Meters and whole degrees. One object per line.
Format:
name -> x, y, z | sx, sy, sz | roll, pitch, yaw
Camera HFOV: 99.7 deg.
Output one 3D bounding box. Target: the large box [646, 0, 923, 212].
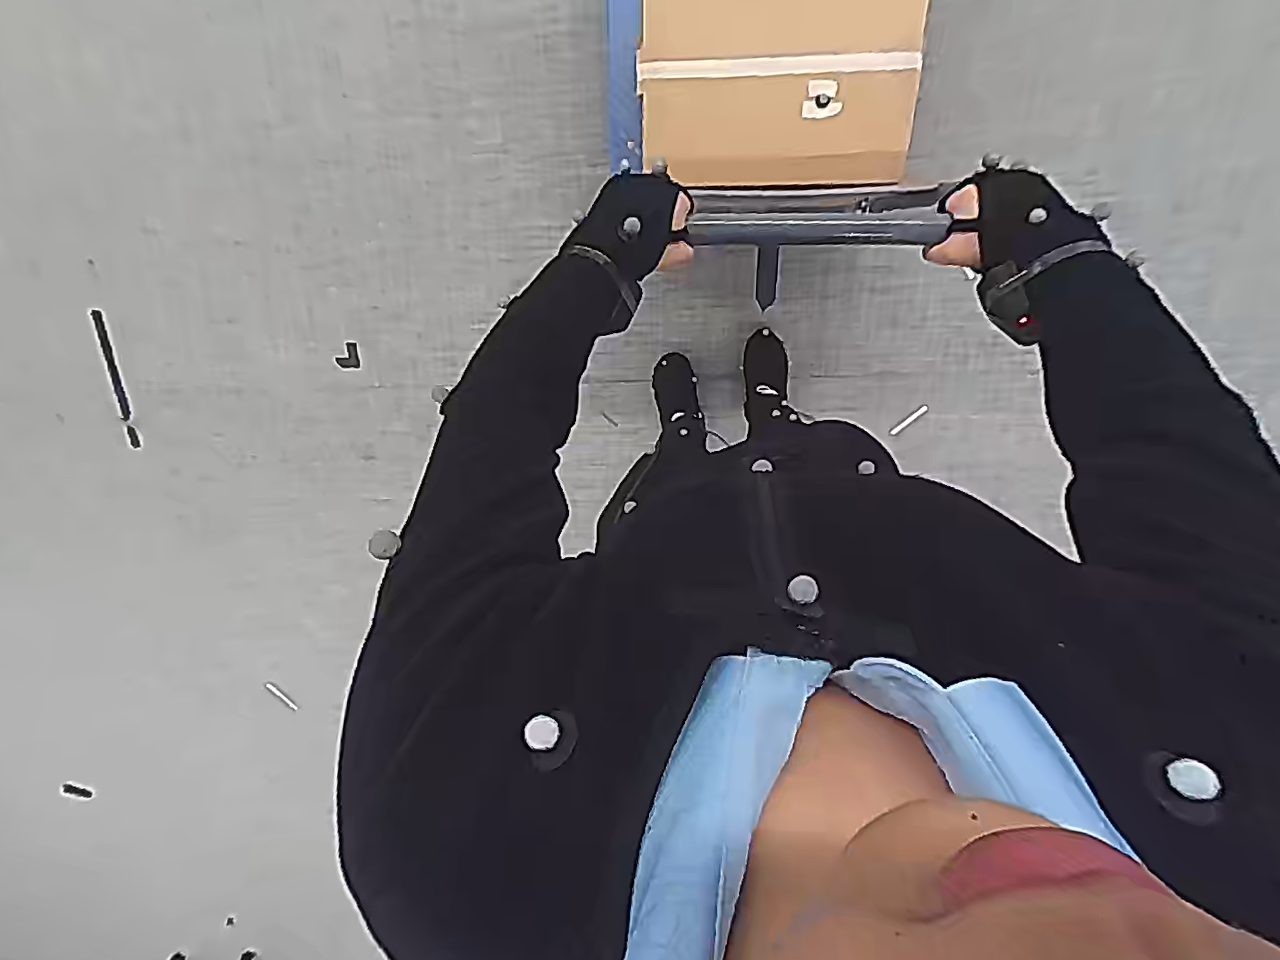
large box -> 0.219, -0.667, 0.955 | 0.408, 0.320, 0.320 | 1, 111, 4
